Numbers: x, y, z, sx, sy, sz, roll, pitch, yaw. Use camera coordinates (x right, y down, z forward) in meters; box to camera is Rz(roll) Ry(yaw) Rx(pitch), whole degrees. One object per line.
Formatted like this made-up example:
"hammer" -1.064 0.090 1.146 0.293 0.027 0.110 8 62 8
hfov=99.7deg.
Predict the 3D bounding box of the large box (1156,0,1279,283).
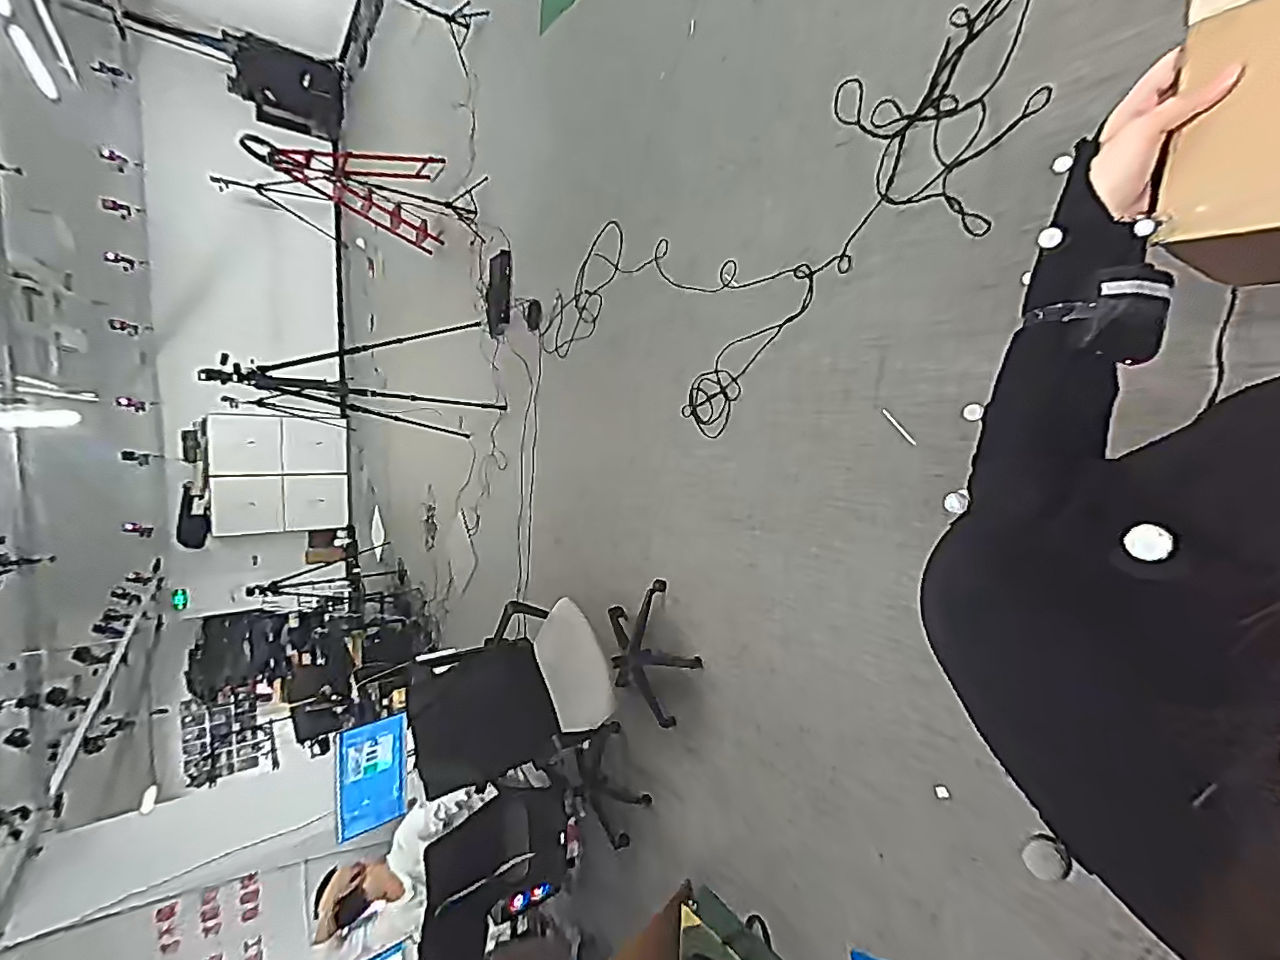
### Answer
"large box" 0.643 -0.317 0.322 0.408 0.320 0.320 15 108 54
